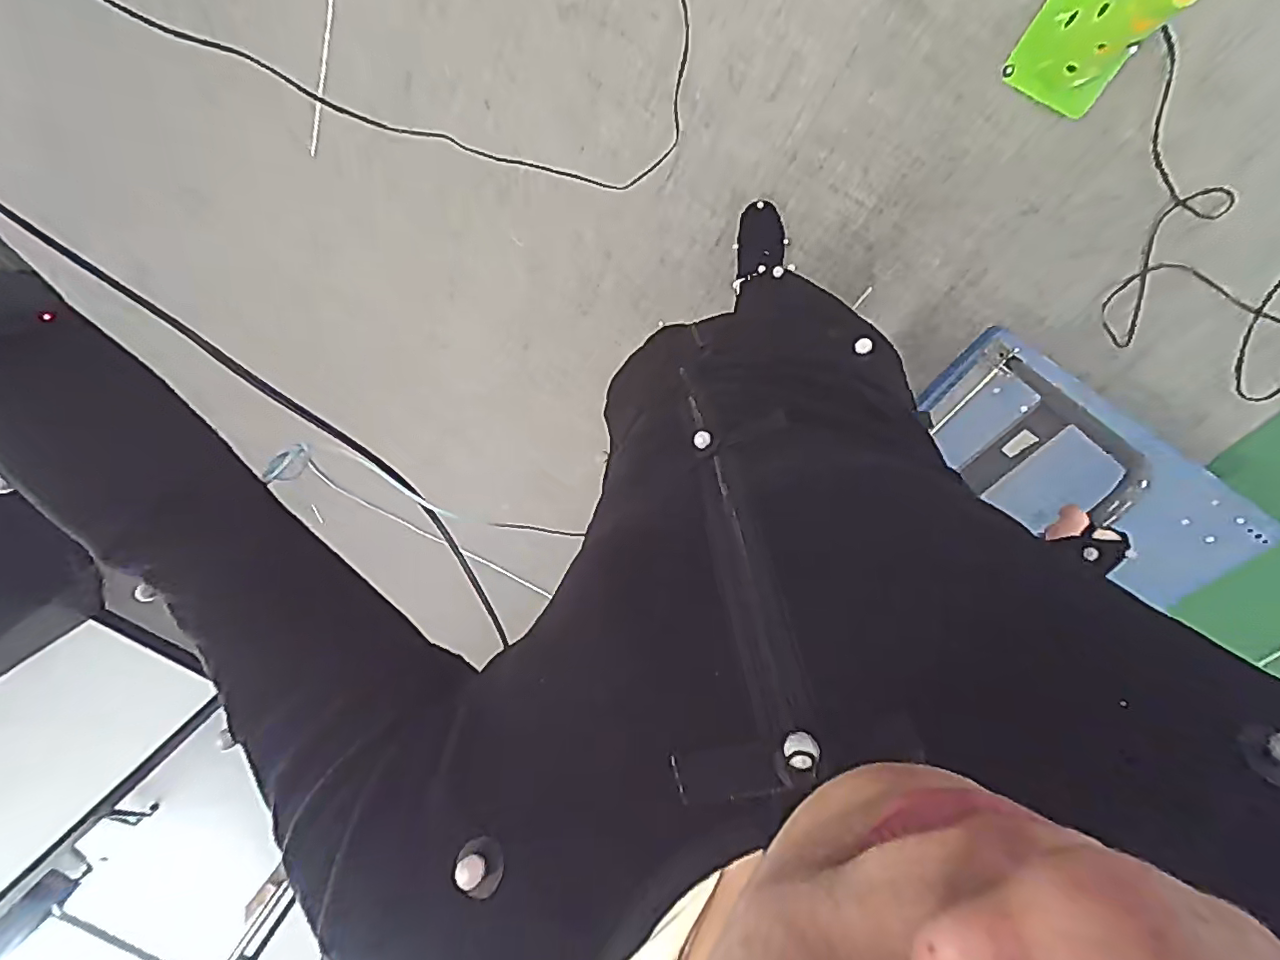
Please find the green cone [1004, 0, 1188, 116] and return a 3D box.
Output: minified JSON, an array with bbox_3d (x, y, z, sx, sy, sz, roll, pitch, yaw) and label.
[{"bbox_3d":[0.832,-0.788,0.922,0.200,0.368,0.202,27,120,-1],"label":"green cone"}]
